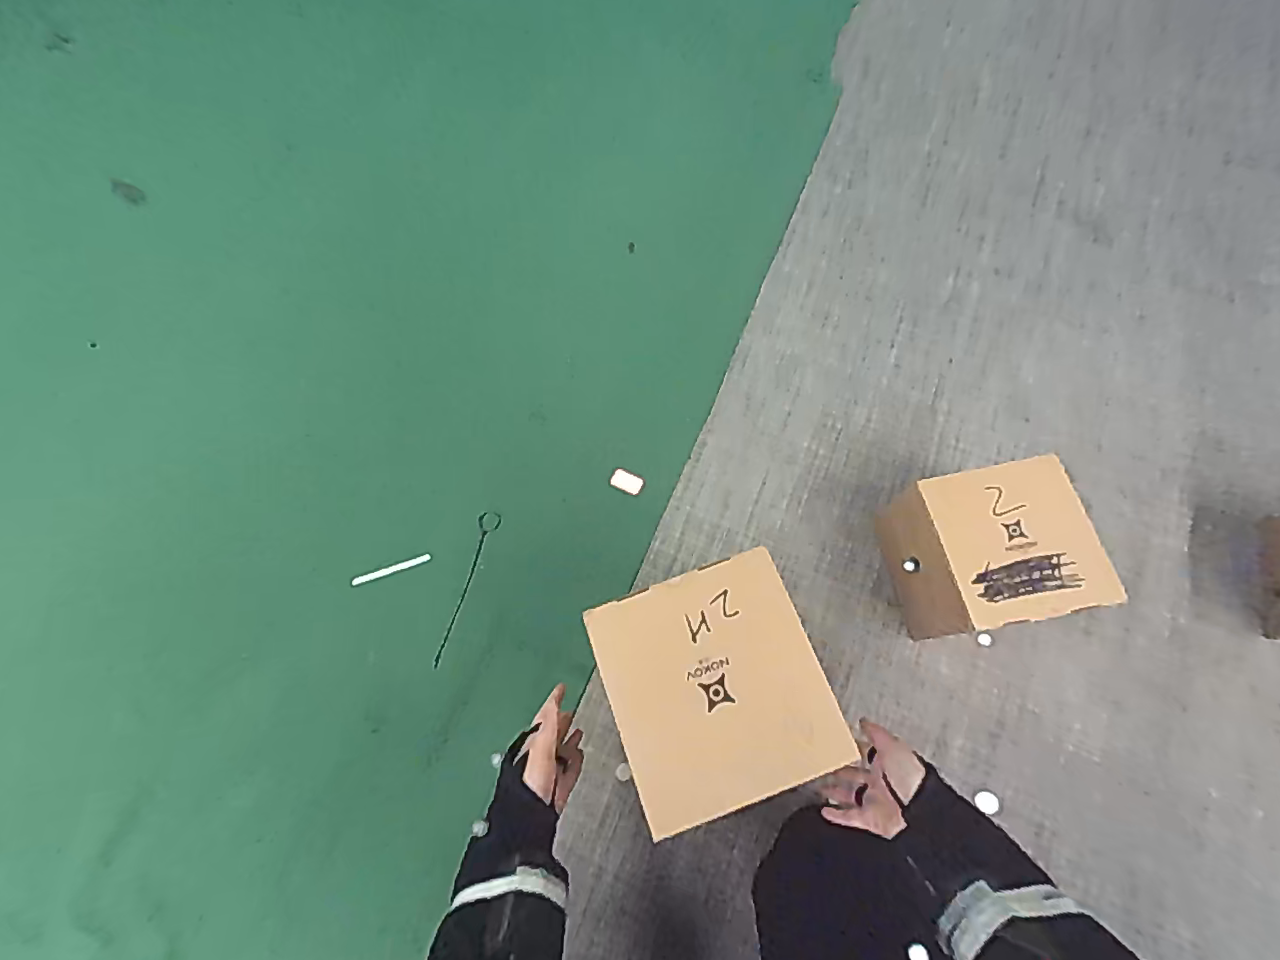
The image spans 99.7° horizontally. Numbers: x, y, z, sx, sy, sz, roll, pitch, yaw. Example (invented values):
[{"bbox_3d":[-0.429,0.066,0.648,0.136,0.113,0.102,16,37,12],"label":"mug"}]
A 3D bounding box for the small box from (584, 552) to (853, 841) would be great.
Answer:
[{"bbox_3d":[0.063,0.189,0.501,0.168,0.176,0.179,-20,69,-3],"label":"small box"}]

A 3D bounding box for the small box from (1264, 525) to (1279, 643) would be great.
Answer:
[{"bbox_3d":[0.893,0.126,0.626,0.179,0.176,0.168,13,72,10],"label":"small box"}]
